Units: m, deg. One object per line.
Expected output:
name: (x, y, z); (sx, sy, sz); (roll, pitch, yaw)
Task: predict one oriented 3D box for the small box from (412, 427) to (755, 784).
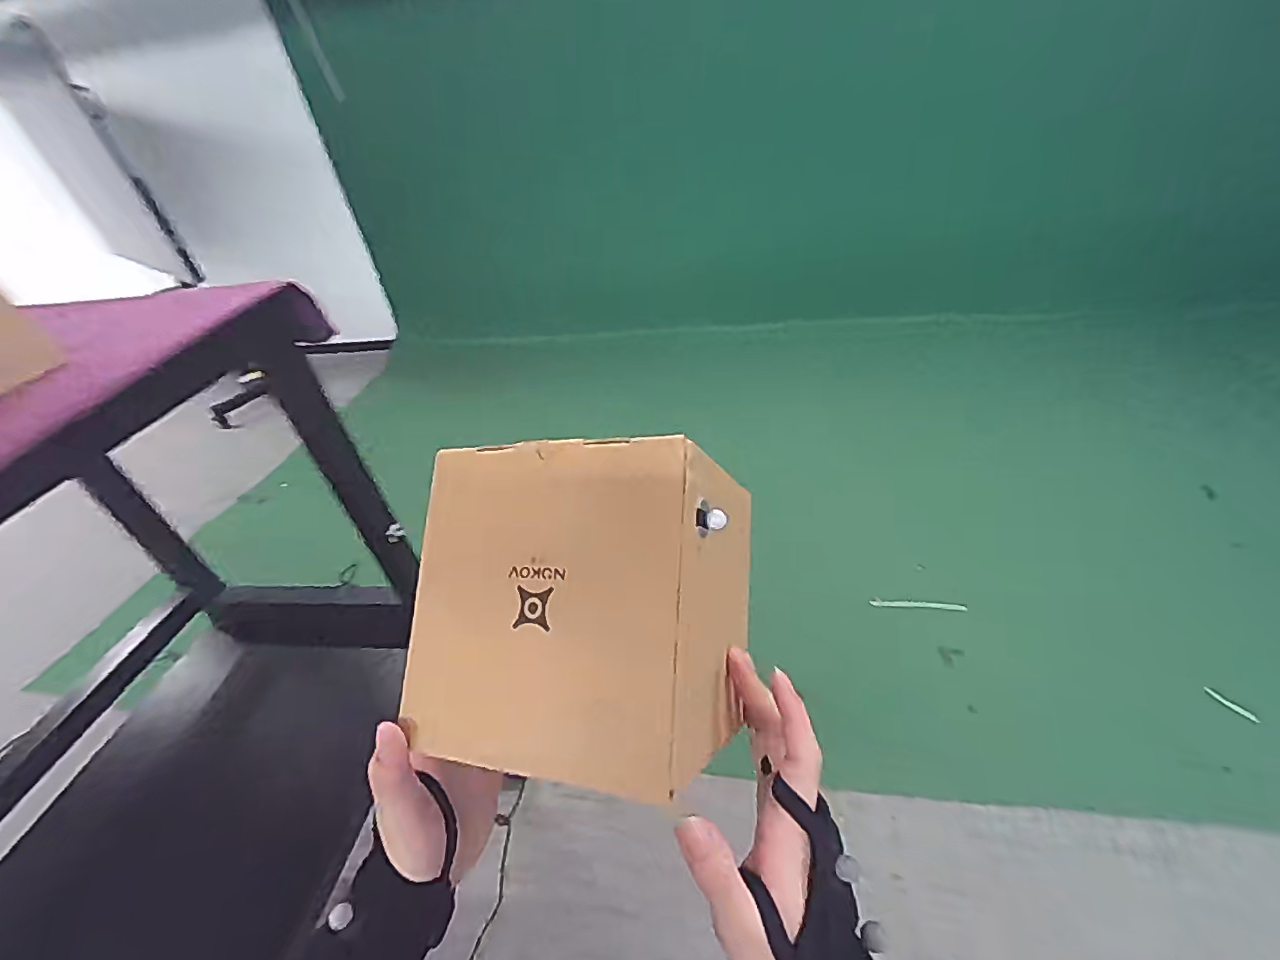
small box: (-0.020, 0.076, 0.368); (0.168, 0.176, 0.179); (-2, 75, 24)
